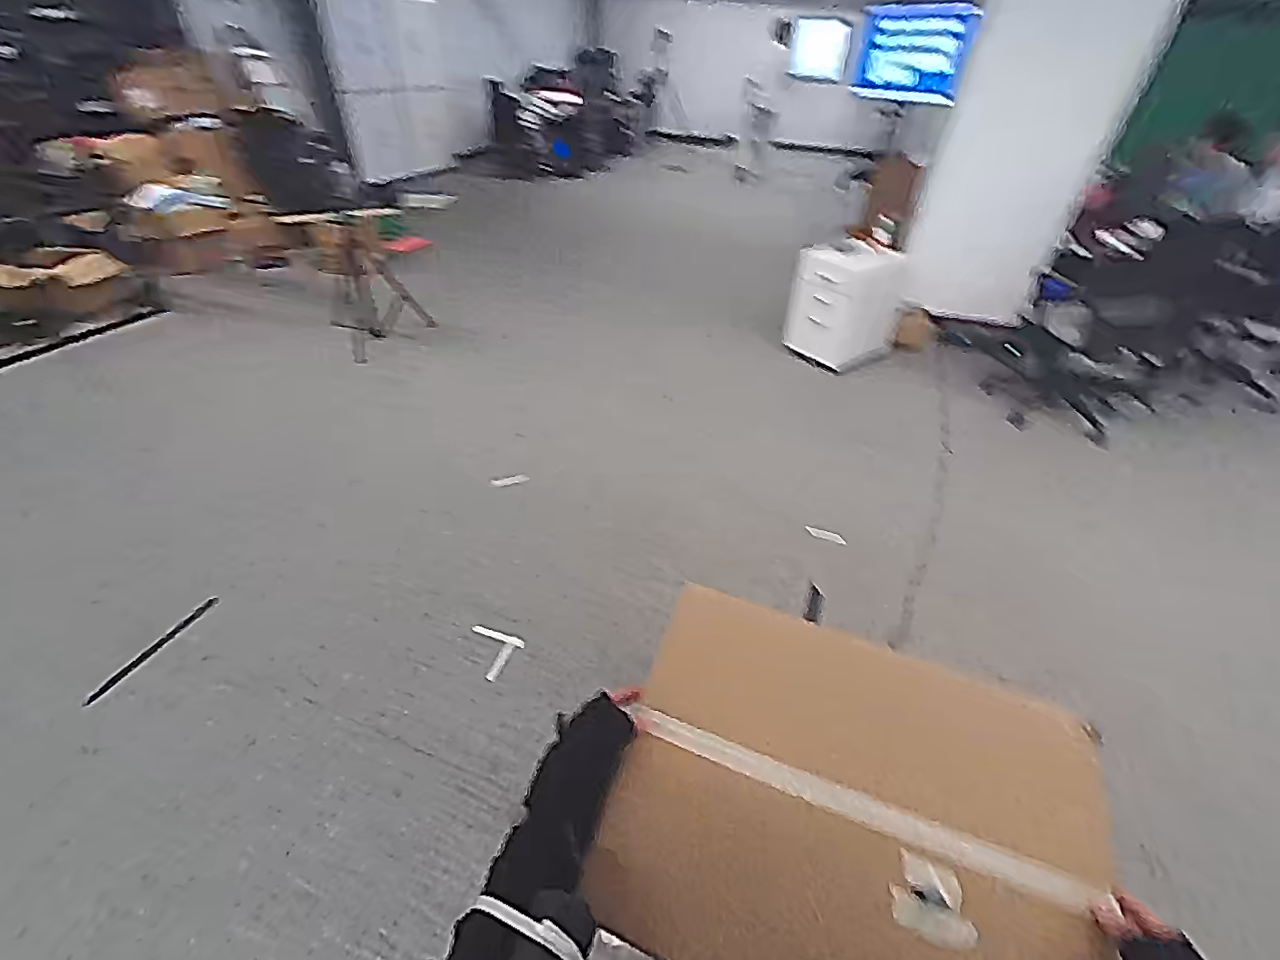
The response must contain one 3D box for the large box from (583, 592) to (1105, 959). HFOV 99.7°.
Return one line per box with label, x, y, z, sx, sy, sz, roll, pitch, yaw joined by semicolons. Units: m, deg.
large box;0.190;0.385;0.603;0.408;0.320;0.320;17;53;15
